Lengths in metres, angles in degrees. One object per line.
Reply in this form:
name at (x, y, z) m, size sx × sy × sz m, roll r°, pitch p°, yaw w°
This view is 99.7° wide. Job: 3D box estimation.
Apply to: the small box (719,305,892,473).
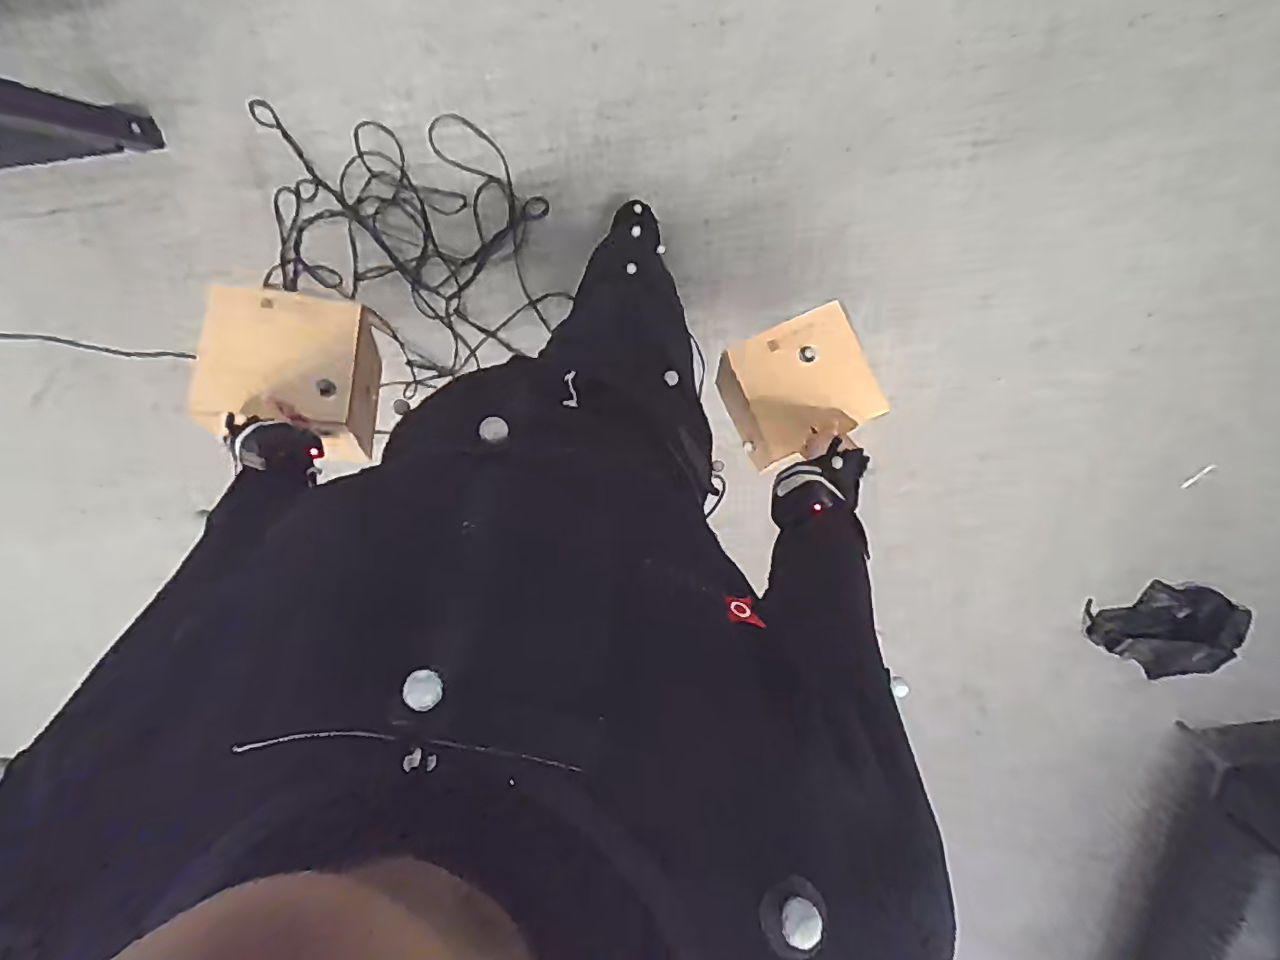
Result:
small box at (0.225, -0.125, 0.789) m, size 0.168 × 0.179 × 0.176 m, roll -25°, pitch 83°, yaw 1°
